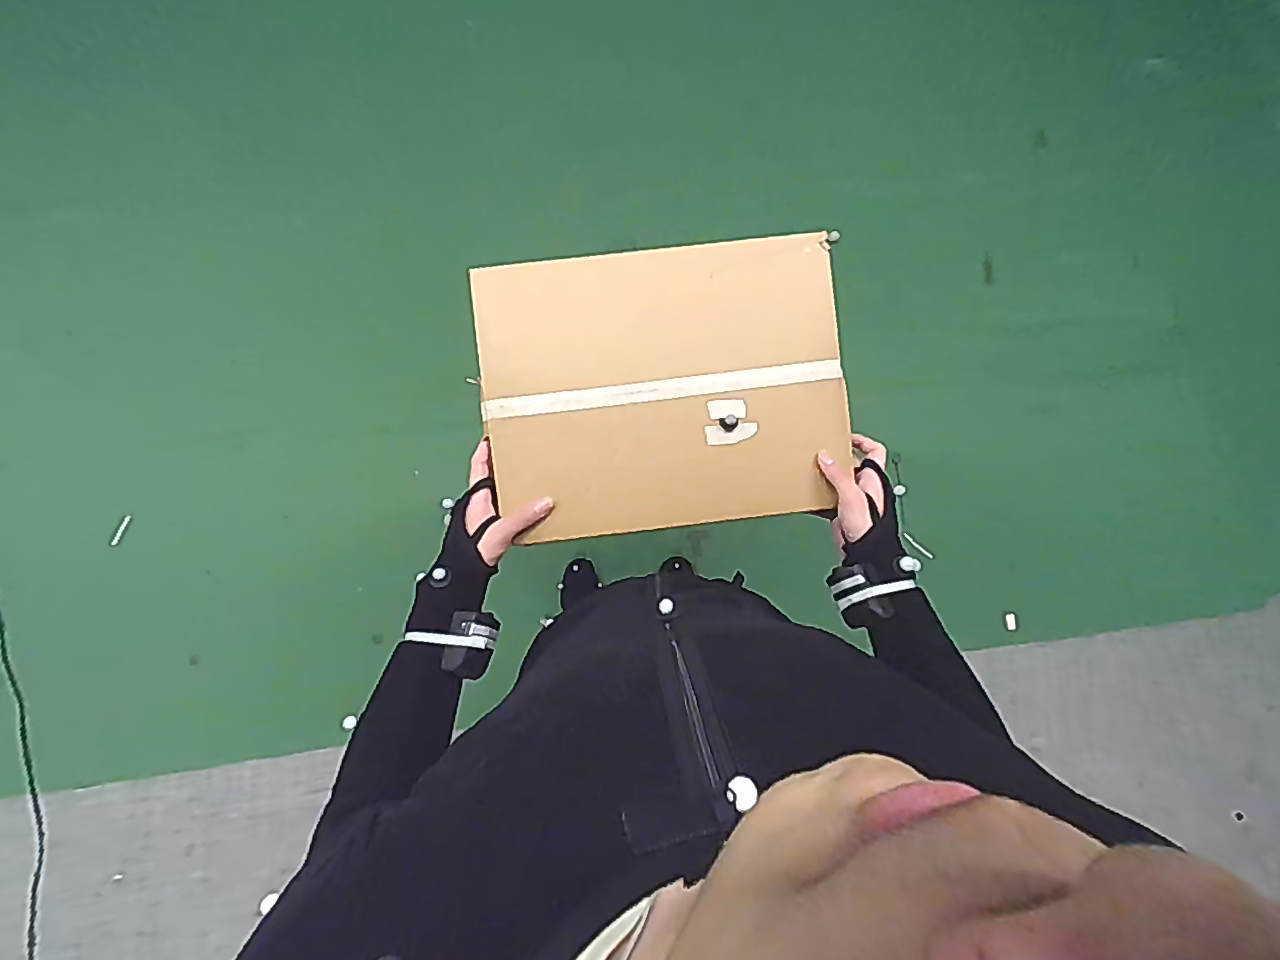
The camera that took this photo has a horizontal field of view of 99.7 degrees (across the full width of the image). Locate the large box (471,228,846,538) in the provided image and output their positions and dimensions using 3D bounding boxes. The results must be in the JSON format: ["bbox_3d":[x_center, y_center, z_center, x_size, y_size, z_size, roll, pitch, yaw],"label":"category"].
[{"bbox_3d":[0.018,-0.113,0.764,0.408,0.320,0.320,-7,92,-2],"label":"large box"}]
